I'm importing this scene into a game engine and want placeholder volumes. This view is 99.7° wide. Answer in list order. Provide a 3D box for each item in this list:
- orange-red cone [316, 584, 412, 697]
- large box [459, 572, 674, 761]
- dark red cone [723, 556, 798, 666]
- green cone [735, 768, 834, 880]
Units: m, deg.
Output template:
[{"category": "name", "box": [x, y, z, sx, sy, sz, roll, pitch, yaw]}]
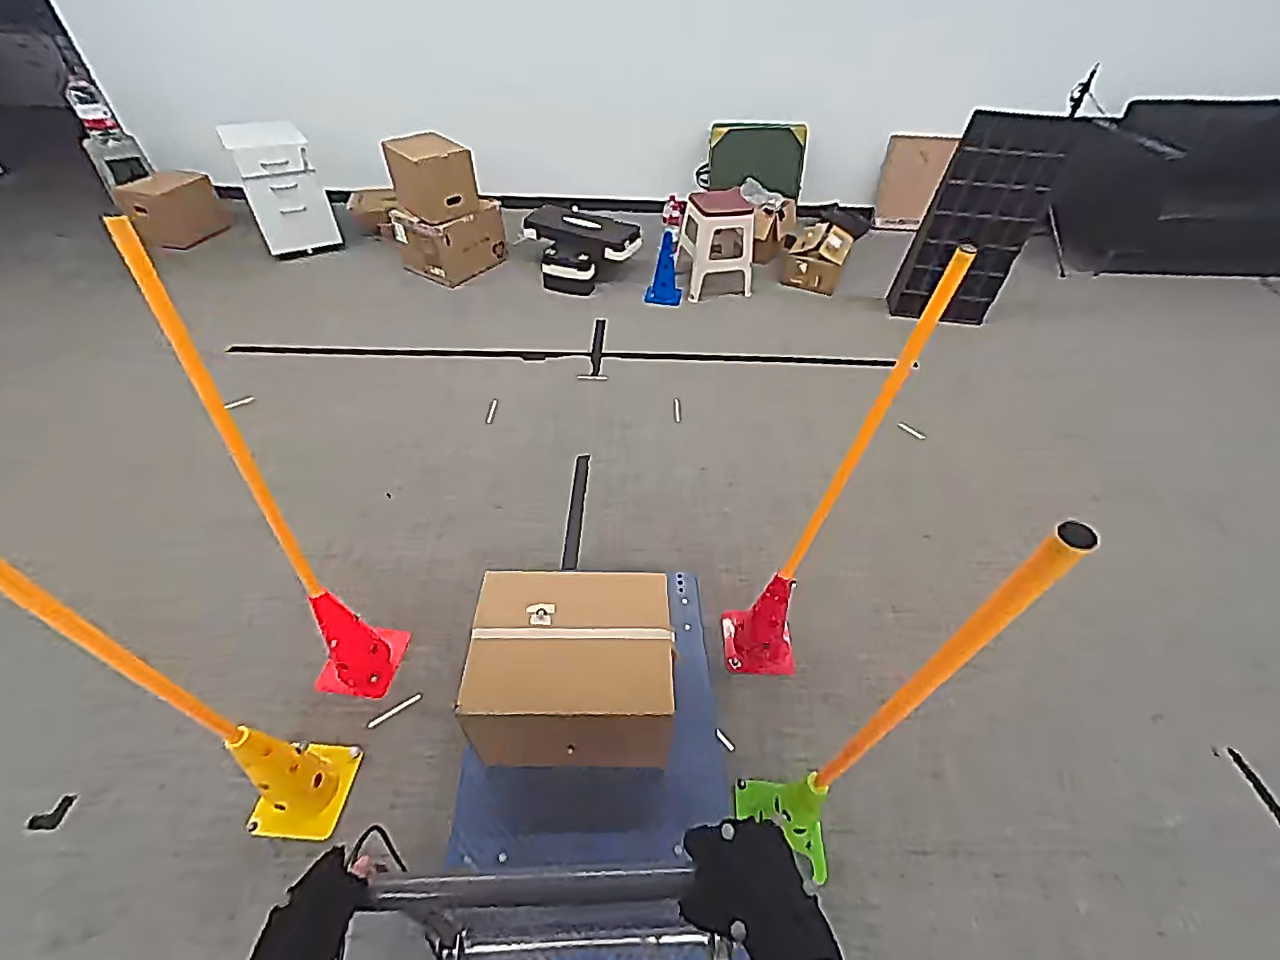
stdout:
[{"category": "orange-red cone", "box": [-0.769, 0.388, 1.420, 0.198, 0.360, 0.199, 8, 45, 4]}, {"category": "large box", "box": [-0.140, 0.420, 1.211, 0.408, 0.320, 0.320, 0, 46, -1]}, {"category": "dark red cone", "box": [0.362, 0.342, 1.485, 0.201, 0.394, 0.202, 3, 46, -2]}, {"category": "green cone", "box": [0.337, 0.701, 1.158, 0.202, 0.368, 0.200, 5, 46, 1]}]
